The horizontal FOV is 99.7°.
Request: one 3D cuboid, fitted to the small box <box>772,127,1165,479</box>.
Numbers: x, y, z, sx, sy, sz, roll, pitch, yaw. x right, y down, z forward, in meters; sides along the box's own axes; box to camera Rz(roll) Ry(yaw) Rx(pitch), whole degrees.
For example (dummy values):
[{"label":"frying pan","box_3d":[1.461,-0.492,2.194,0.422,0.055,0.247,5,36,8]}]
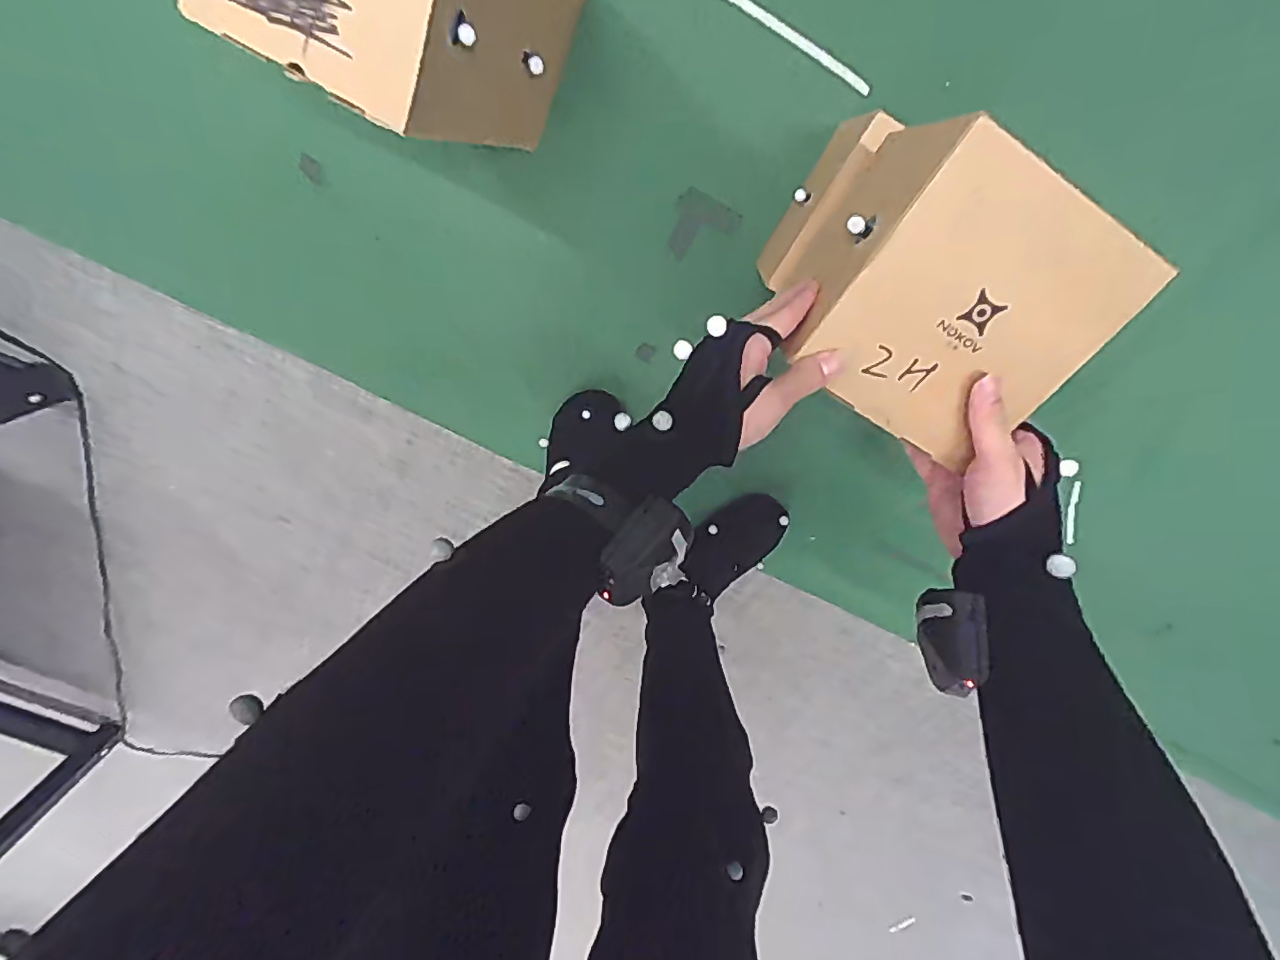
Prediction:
[{"label":"small box","box_3d":[0.225,-0.140,0.430,0.168,0.176,0.179,29,118,-11]}]
